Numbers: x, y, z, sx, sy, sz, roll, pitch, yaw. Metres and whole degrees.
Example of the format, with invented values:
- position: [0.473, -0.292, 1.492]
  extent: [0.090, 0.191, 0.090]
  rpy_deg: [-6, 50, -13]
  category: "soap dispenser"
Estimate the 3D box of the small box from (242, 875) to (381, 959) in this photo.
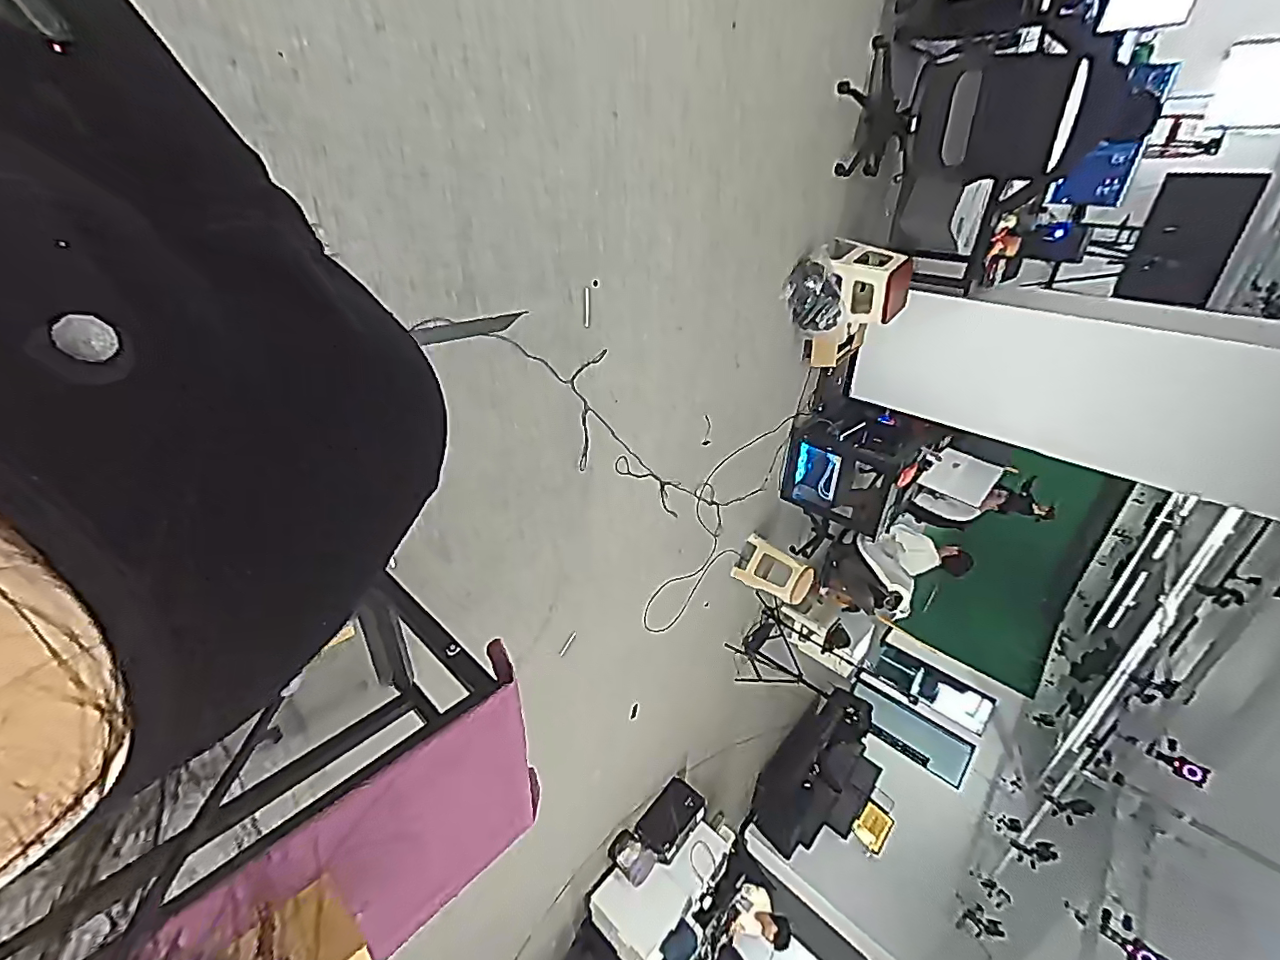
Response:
- position: [-0.599, 0.885, 0.998]
  extent: [0.168, 0.176, 0.179]
  rpy_deg: [-26, 132, -40]
  category: "small box"
